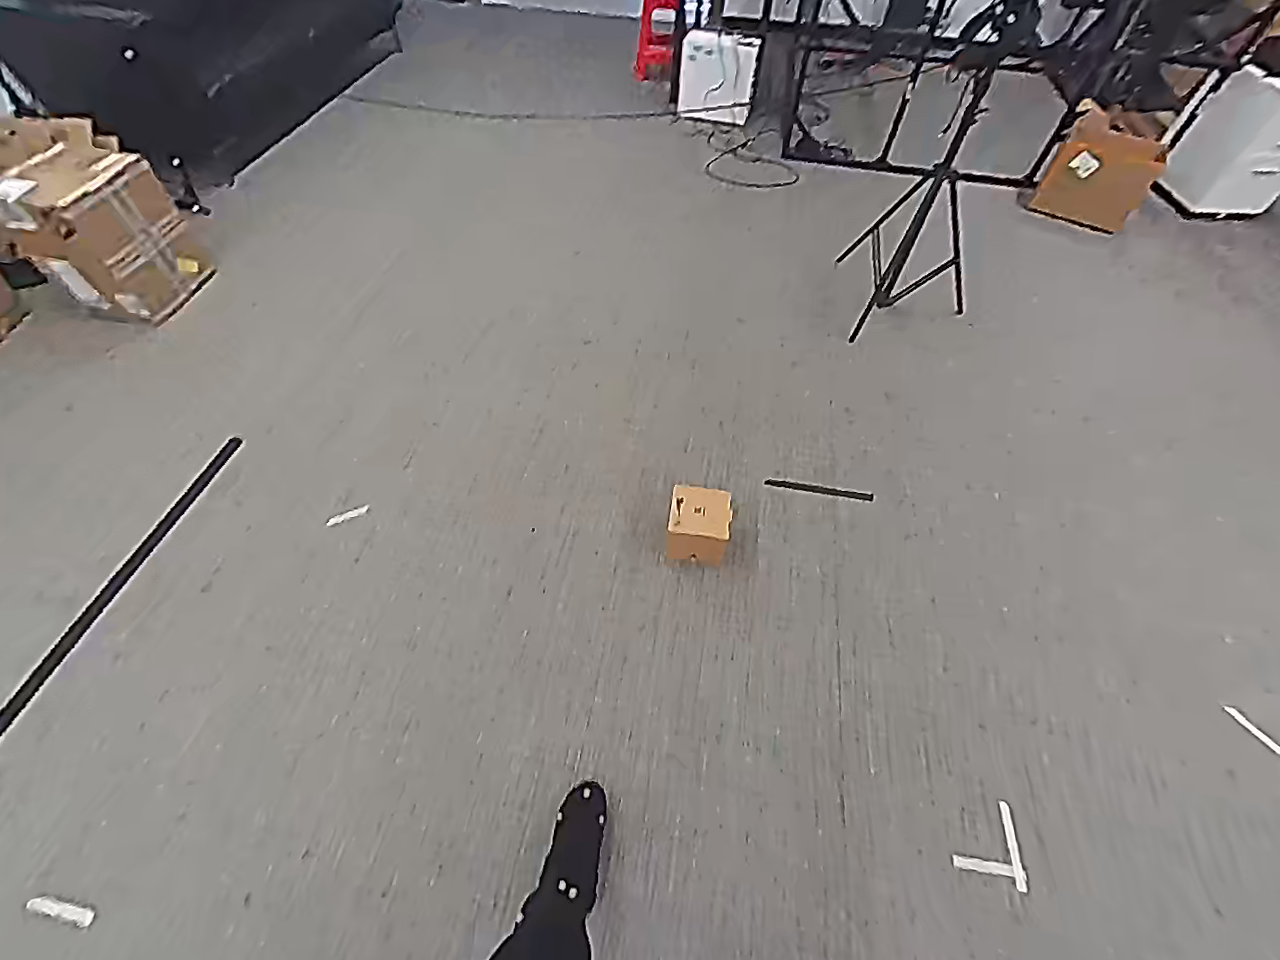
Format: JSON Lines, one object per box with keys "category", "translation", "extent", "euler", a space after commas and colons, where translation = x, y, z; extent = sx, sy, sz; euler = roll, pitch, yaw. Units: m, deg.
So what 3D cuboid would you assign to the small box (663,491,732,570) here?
{"category": "small box", "translation": [0.172, 0.156, 1.631], "extent": [0.179, 0.176, 0.168], "euler": [9, 54, 4]}
